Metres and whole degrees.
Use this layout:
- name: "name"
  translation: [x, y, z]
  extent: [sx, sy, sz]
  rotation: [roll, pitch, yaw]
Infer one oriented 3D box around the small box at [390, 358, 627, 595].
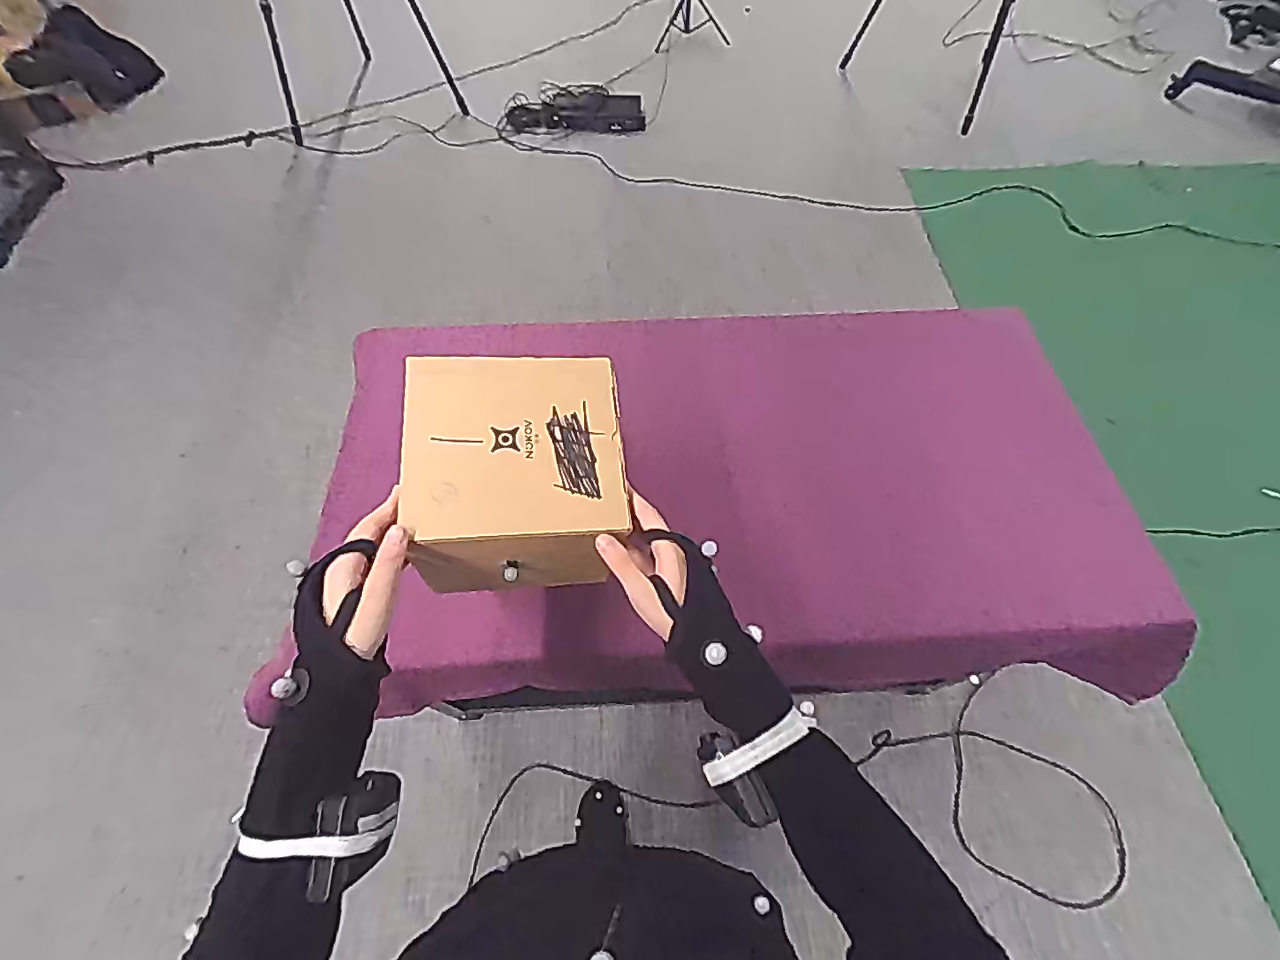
- name: "small box"
  translation: [-0.117, 0.006, 0.507]
  extent: [0.179, 0.176, 0.168]
  rotation: [-1, 65, -12]
